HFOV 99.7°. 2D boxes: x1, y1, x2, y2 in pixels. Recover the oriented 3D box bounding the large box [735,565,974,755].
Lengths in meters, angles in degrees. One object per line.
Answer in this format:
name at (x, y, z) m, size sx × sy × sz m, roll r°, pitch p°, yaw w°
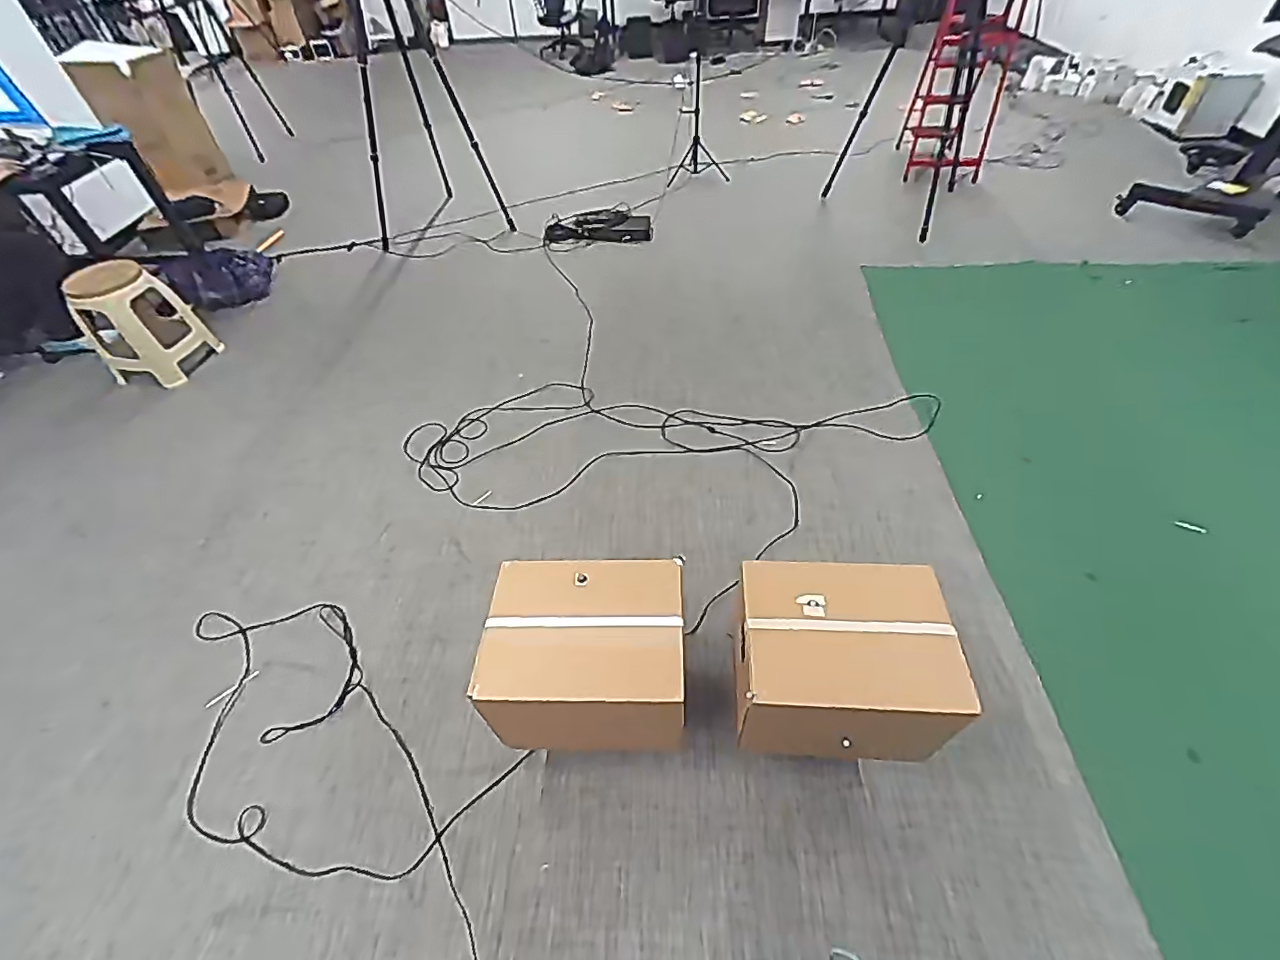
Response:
large box at (0.428, 0.401, 1.198) m, size 0.408 × 0.320 × 0.320 m, roll 1°, pitch 48°, yaw 5°
